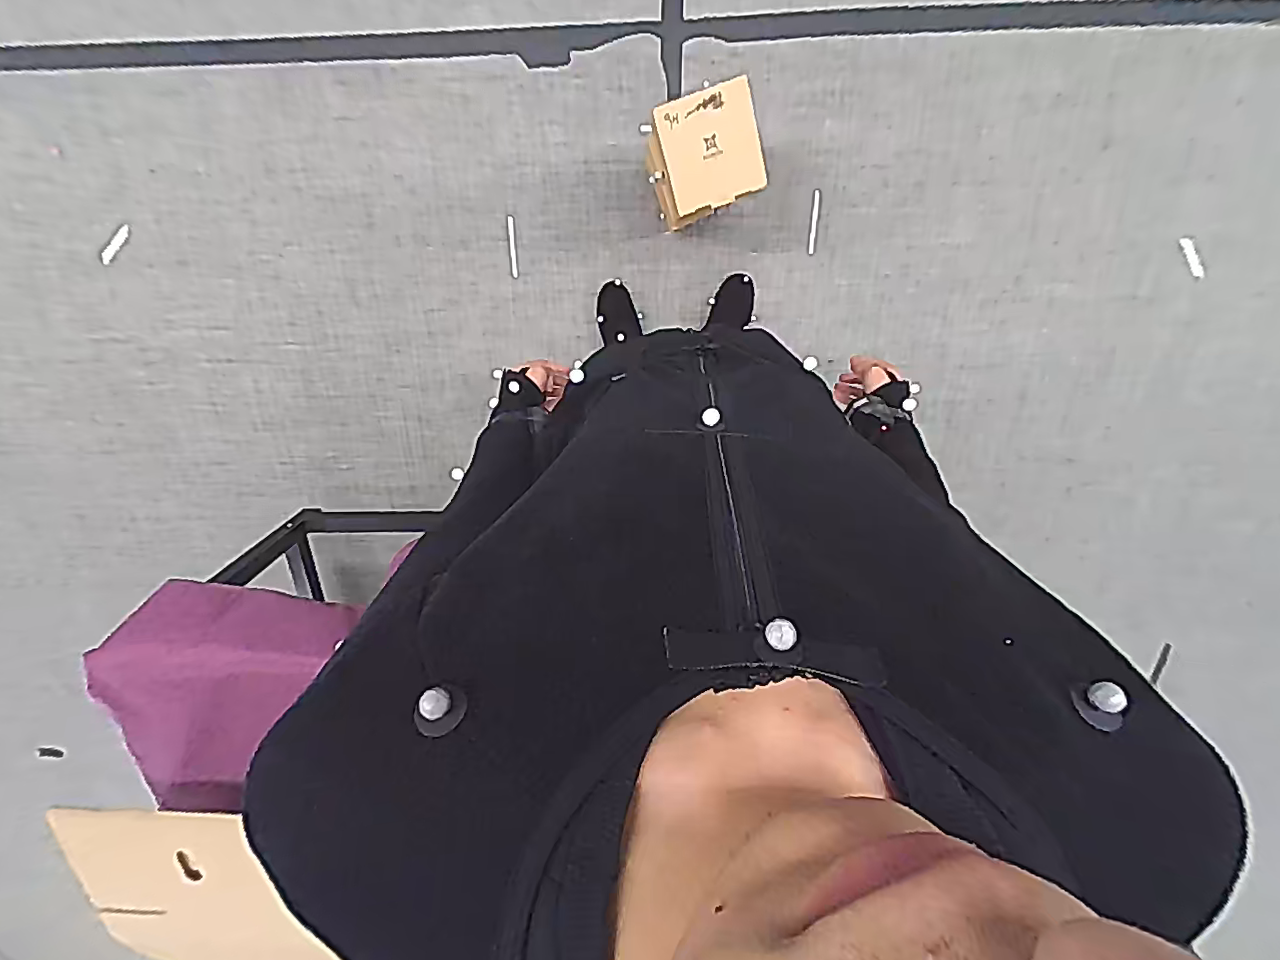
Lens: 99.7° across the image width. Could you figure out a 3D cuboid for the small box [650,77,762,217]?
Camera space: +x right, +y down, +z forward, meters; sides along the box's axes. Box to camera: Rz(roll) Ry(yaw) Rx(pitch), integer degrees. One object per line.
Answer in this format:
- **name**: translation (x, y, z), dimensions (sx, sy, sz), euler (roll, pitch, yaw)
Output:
- **small box**: translation (0.119, -0.608, 1.011), dimensions (0.168, 0.176, 0.179), euler (-15, 113, 7)
